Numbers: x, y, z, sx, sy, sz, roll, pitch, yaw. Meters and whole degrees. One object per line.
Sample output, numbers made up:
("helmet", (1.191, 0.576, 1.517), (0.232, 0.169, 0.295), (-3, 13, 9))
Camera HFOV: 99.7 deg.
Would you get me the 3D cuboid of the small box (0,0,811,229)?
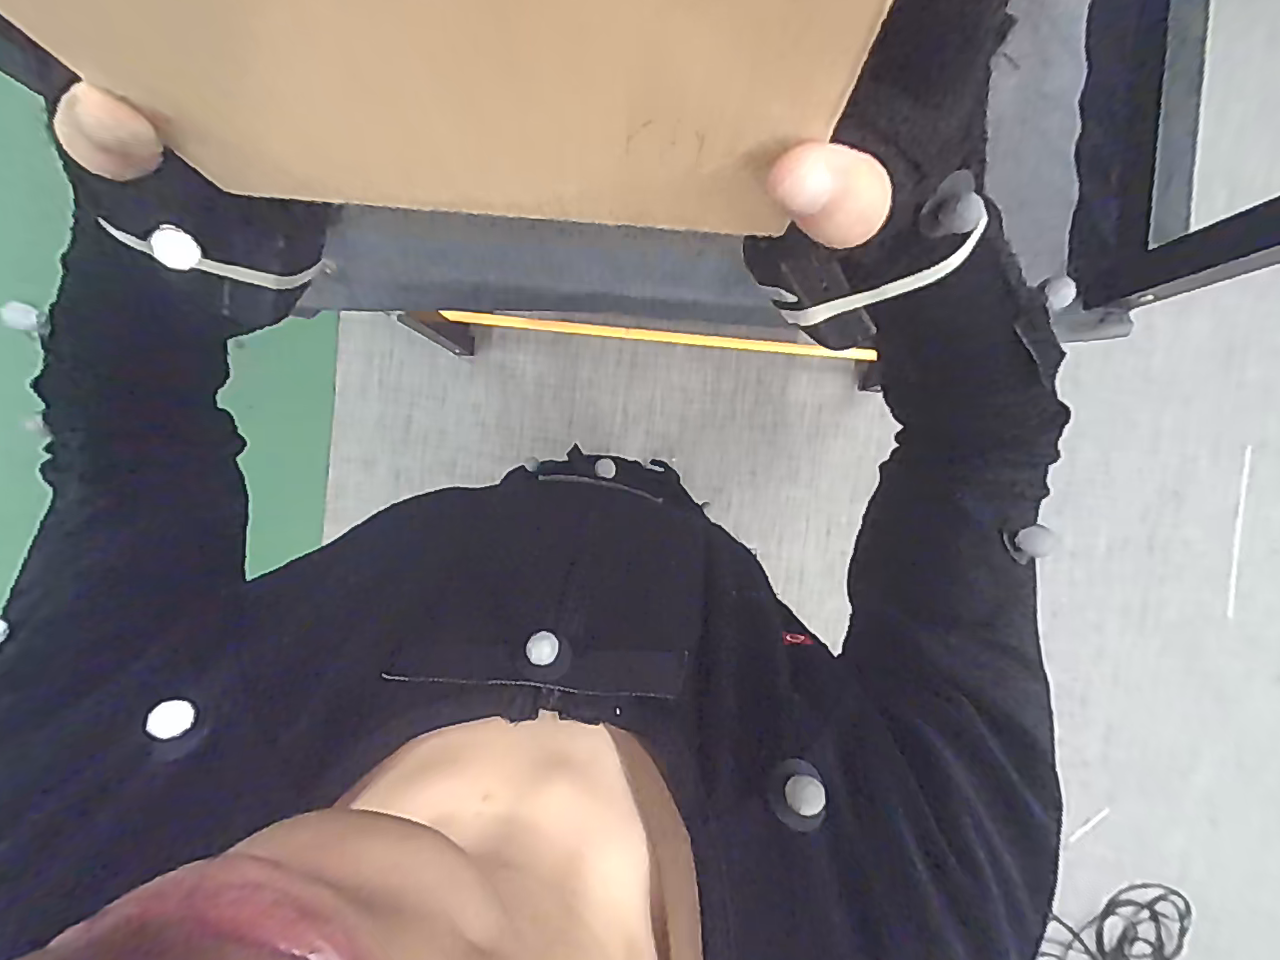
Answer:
("small box", (-0.043, -0.168, 0.077), (0.168, 0.179, 0.176), (6, 85, 2))
